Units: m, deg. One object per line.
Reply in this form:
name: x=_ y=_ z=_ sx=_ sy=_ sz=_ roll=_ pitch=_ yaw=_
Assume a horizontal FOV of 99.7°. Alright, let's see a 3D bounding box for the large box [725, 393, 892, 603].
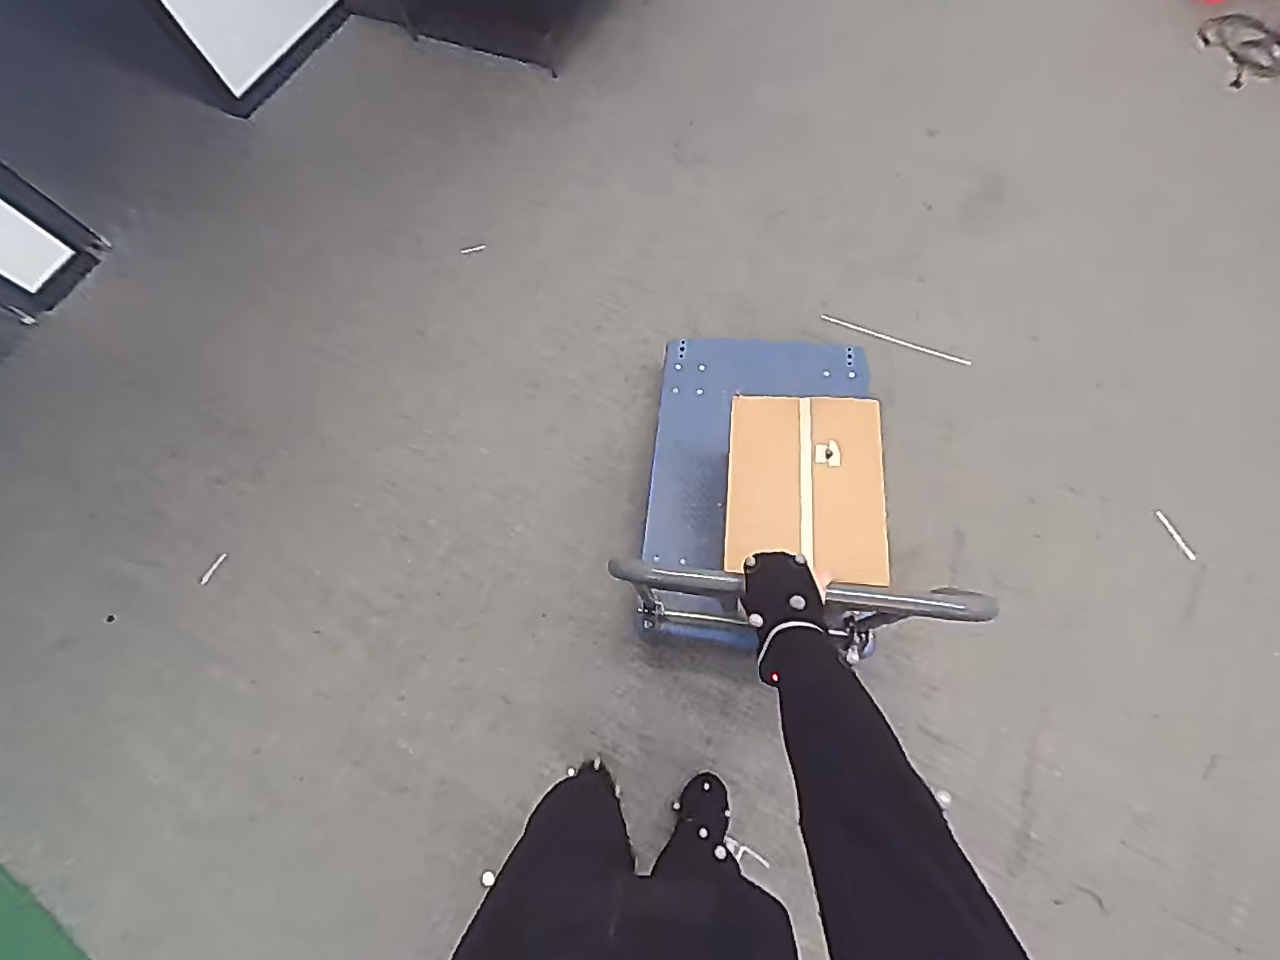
large box: x=0.359 y=0.053 z=1.247 sx=0.320 sy=0.320 sz=0.408 roll=3 pitch=68 yaw=7
